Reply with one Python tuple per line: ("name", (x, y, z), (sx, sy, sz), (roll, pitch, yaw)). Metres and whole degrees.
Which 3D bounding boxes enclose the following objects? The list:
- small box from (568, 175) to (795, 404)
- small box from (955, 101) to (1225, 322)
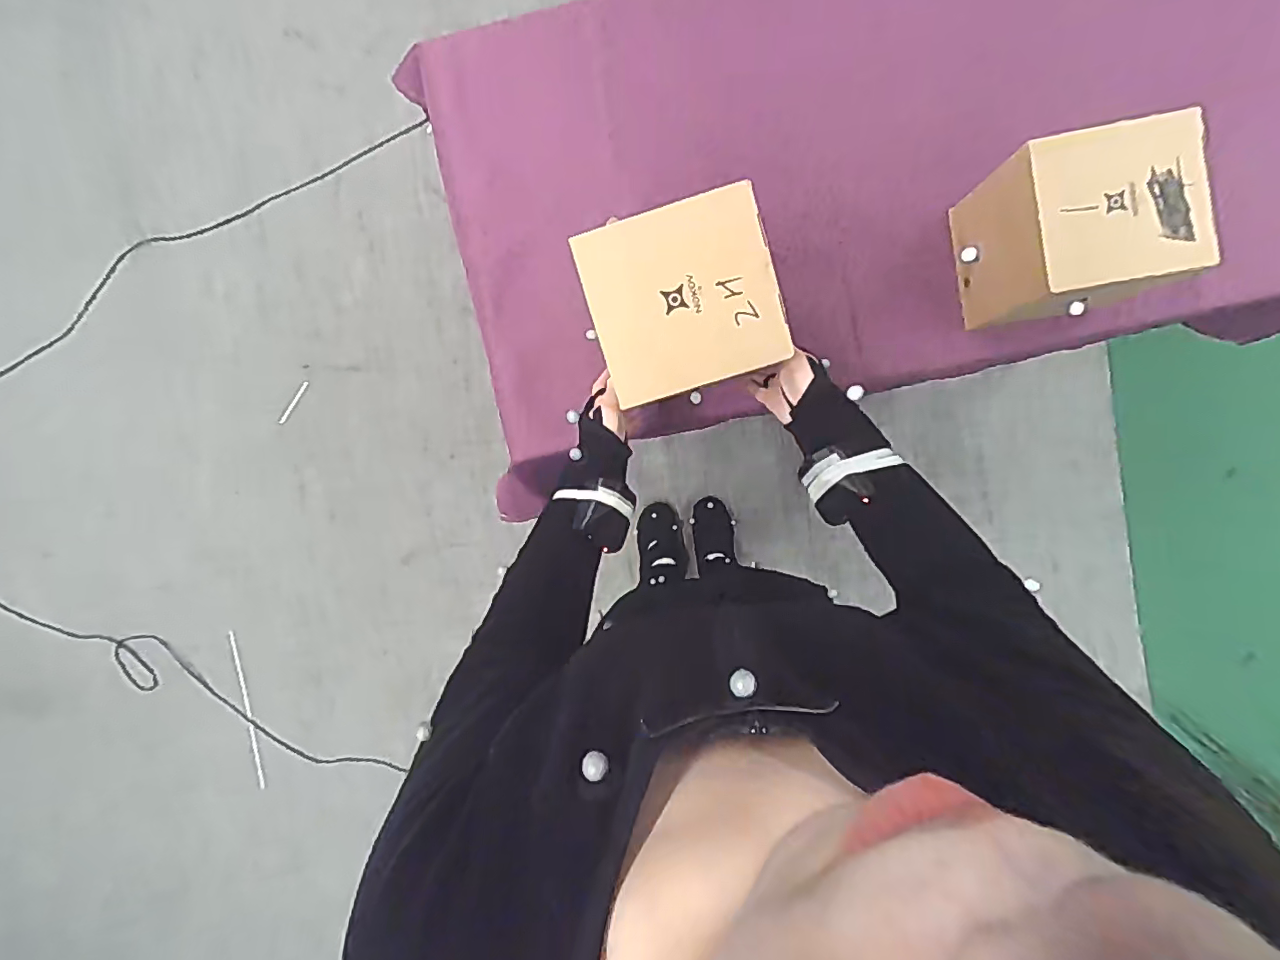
("small box", (0.041, -0.182, 0.571), (0.179, 0.176, 0.168), (-16, 99, 3))
("small box", (0.510, -0.298, 0.639), (0.179, 0.176, 0.168), (-9, 92, 5))
